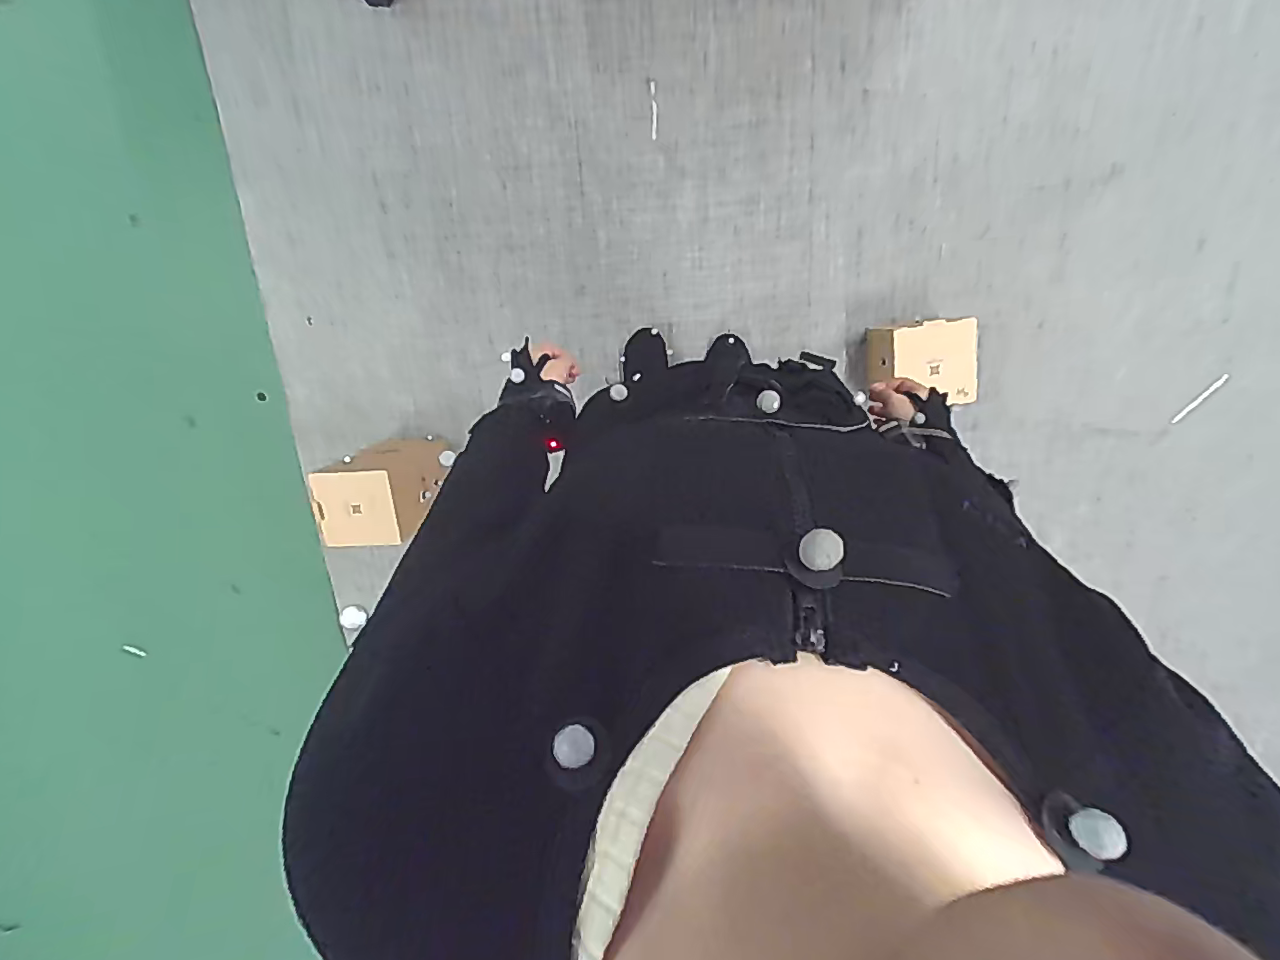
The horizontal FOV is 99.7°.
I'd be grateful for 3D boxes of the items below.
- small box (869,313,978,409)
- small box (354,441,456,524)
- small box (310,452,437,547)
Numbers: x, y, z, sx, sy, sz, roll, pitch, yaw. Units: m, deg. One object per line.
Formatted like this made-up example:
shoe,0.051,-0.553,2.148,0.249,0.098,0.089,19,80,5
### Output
small box,0.613,-0.260,1.187,0.168,0.176,0.179,-8,104,7
small box,-0.579,0.000,1.353,0.168,0.176,0.179,0,106,5
small box,-0.578,0.039,1.194,0.179,0.176,0.168,-4,106,5
